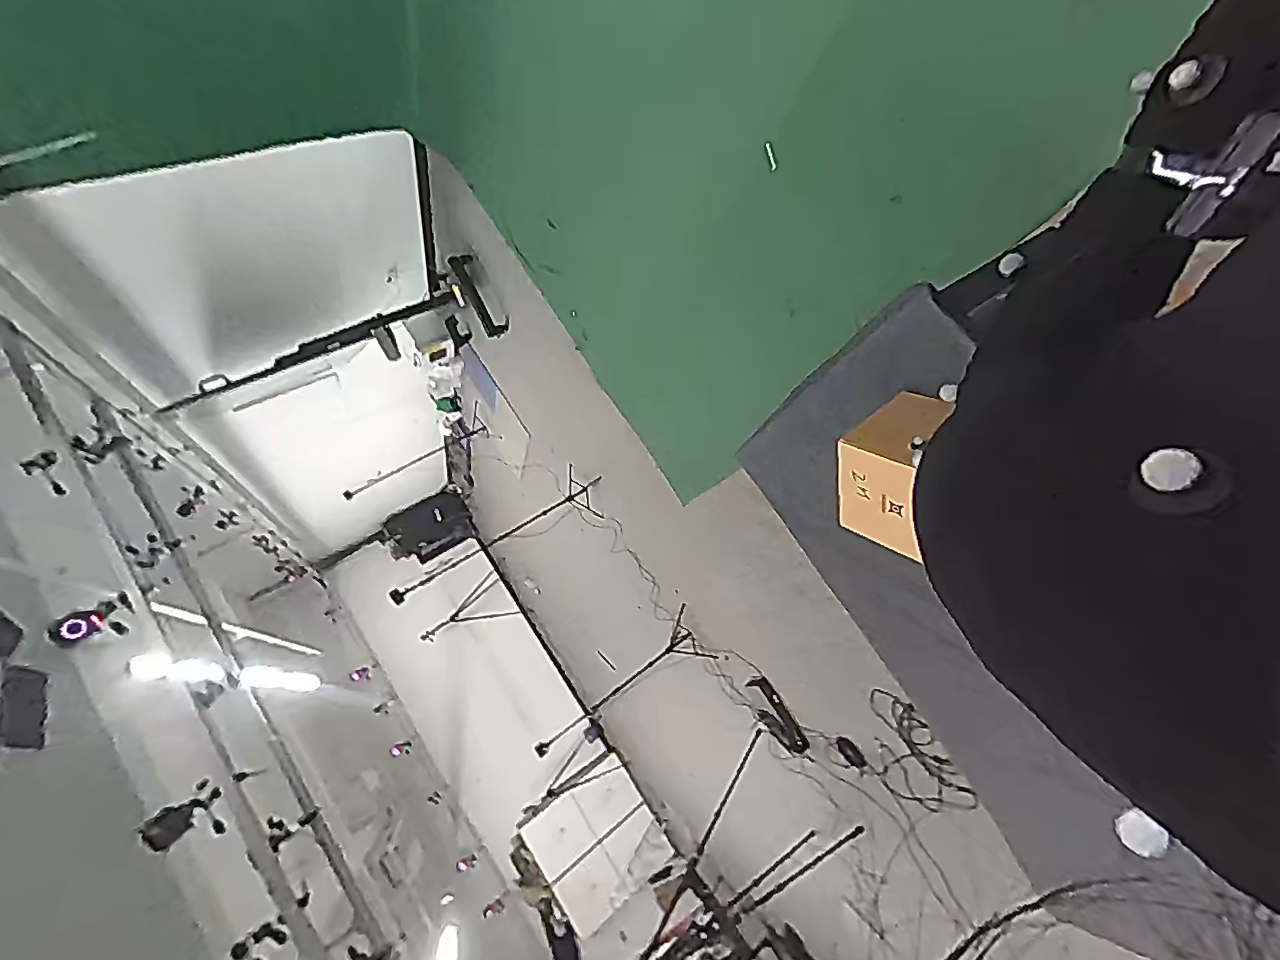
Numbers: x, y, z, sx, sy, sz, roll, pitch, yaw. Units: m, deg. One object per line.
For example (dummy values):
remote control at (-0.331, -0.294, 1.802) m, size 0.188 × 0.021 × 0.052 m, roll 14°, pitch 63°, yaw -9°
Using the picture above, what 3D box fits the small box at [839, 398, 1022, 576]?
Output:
small box at (0.416, -0.001, 0.787) m, size 0.179 × 0.176 × 0.168 m, roll 30°, pitch 144°, yaw 46°
